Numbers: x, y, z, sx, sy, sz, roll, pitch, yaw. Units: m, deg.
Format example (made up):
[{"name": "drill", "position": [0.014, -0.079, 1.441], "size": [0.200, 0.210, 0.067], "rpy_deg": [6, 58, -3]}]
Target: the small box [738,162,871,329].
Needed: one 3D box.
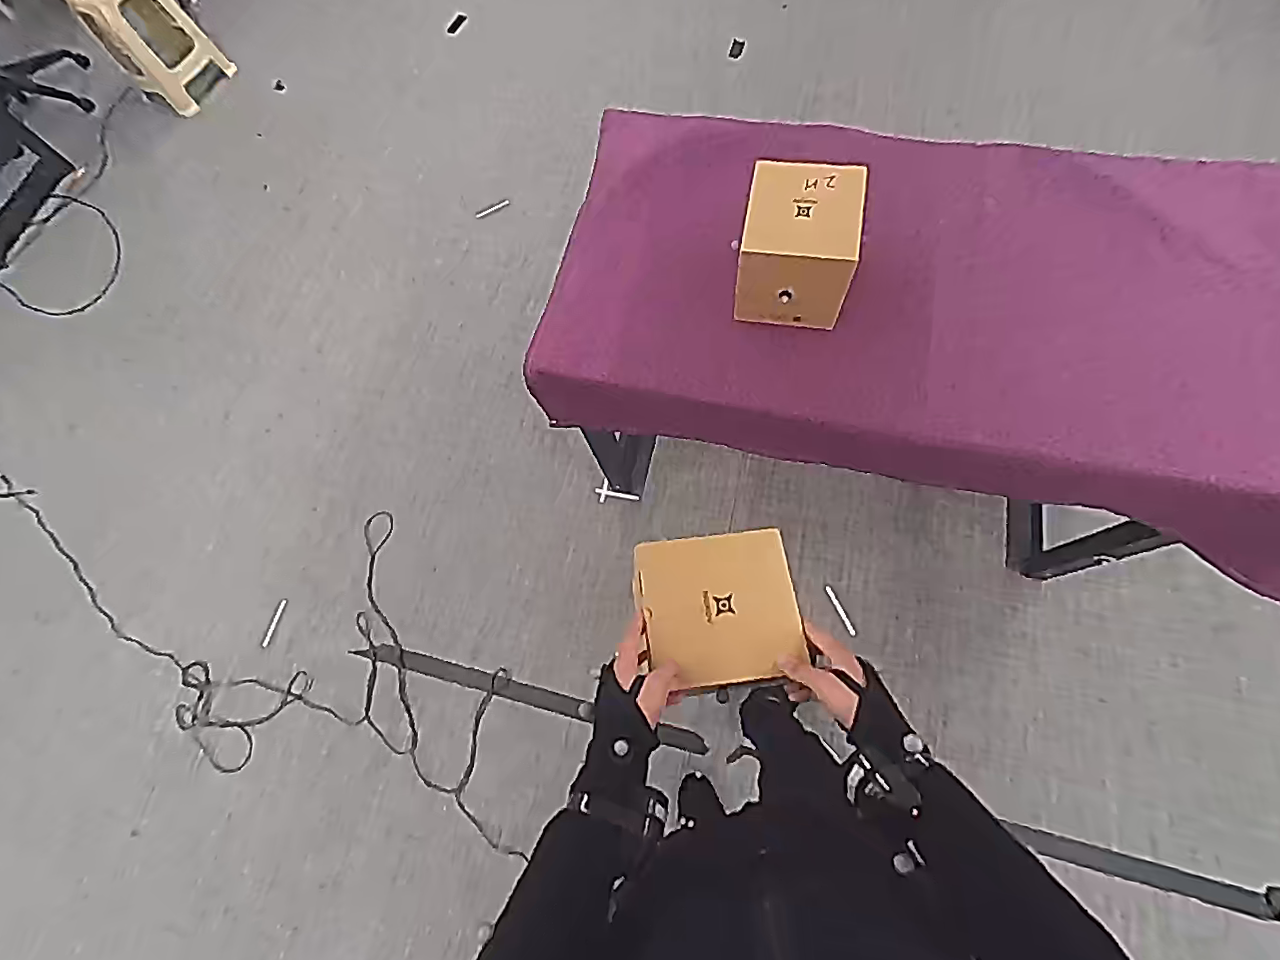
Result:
[{"name": "small box", "position": [0.251, -0.362, 0.855], "size": [0.168, 0.176, 0.179], "rpy_deg": [10, 72, 10]}]

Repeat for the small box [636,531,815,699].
[{"name": "small box", "position": [0.091, 0.173, 0.669], "size": [0.179, 0.176, 0.168], "rpy_deg": [-7, 66, -3]}]
